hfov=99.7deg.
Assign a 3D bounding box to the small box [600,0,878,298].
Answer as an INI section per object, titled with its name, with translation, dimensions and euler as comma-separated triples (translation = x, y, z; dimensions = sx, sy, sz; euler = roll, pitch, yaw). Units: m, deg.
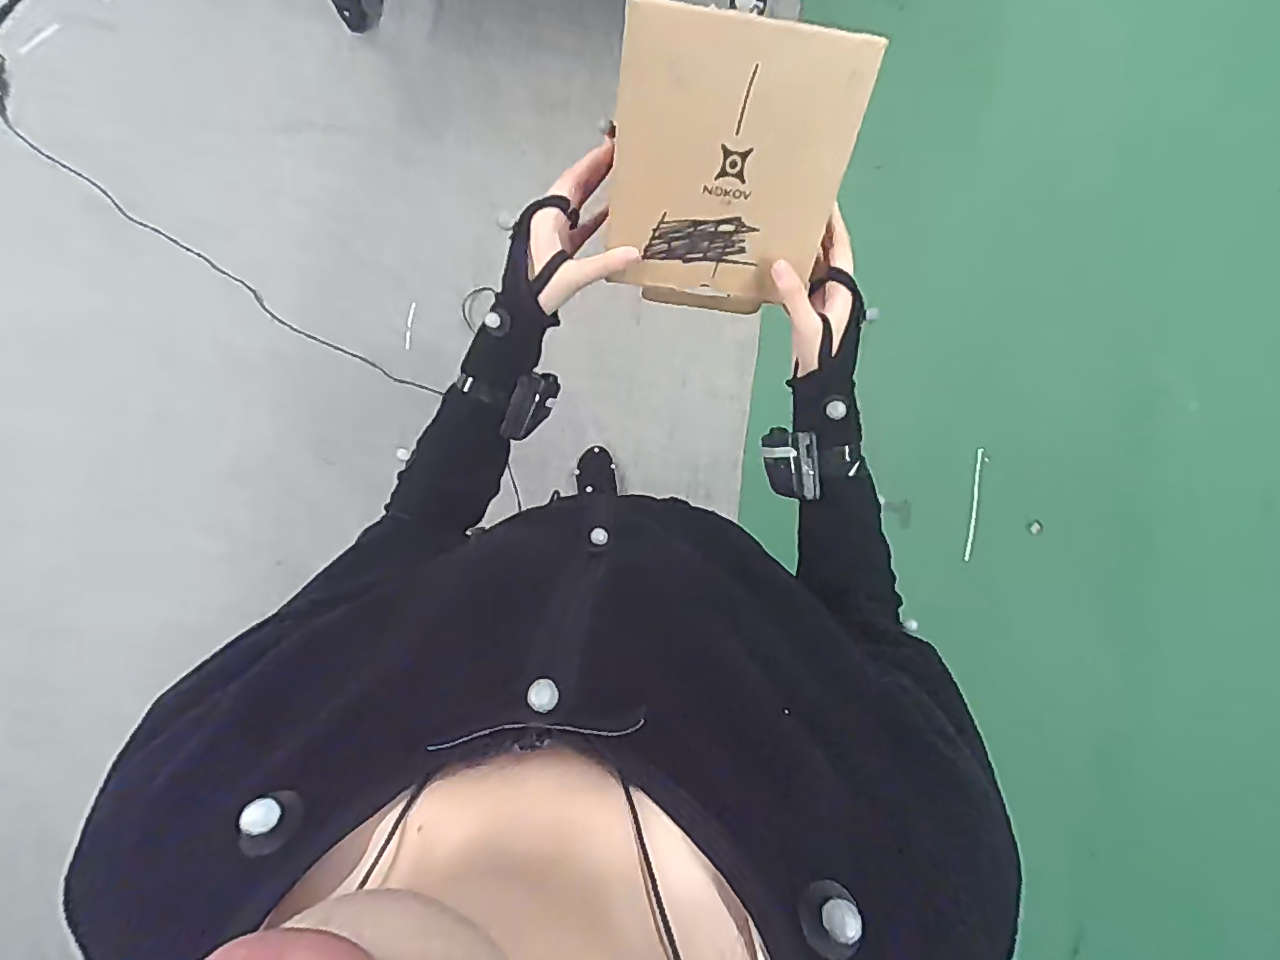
[small box]
translation = 0.059, -0.277, 0.447
dimensions = 0.168, 0.176, 0.179
euler = 5, 131, -7
